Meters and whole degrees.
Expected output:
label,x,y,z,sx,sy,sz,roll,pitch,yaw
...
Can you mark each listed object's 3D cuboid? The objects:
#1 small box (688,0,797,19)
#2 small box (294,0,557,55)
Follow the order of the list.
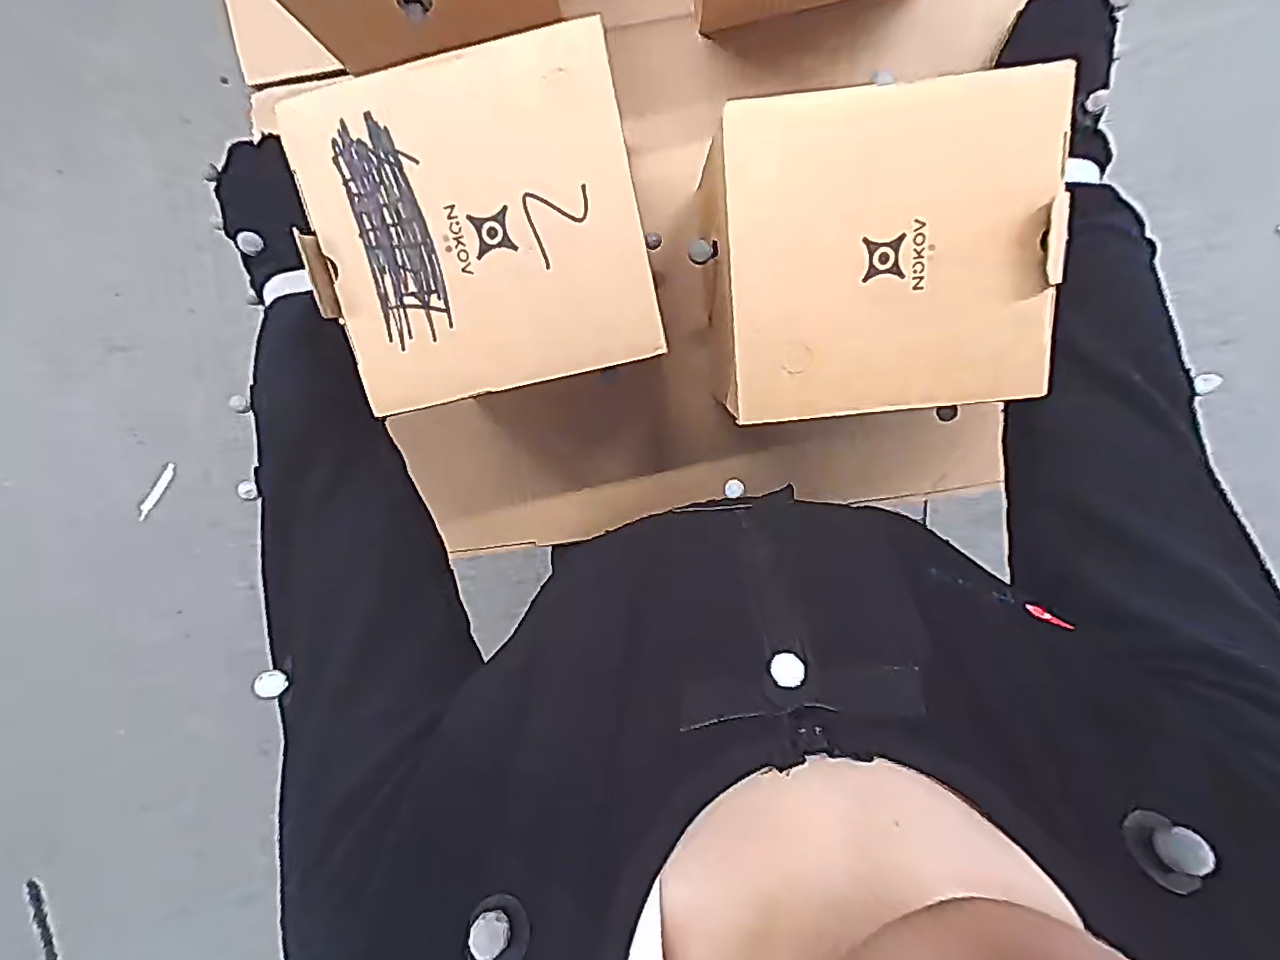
label,x,y,z,sx,sy,sz,roll,pitch,yaw
small box,0.107,-0.413,0.303,0.179,0.176,0.168,-9,102,5
small box,-0.153,-0.391,0.317,0.168,0.176,0.179,-8,101,3
